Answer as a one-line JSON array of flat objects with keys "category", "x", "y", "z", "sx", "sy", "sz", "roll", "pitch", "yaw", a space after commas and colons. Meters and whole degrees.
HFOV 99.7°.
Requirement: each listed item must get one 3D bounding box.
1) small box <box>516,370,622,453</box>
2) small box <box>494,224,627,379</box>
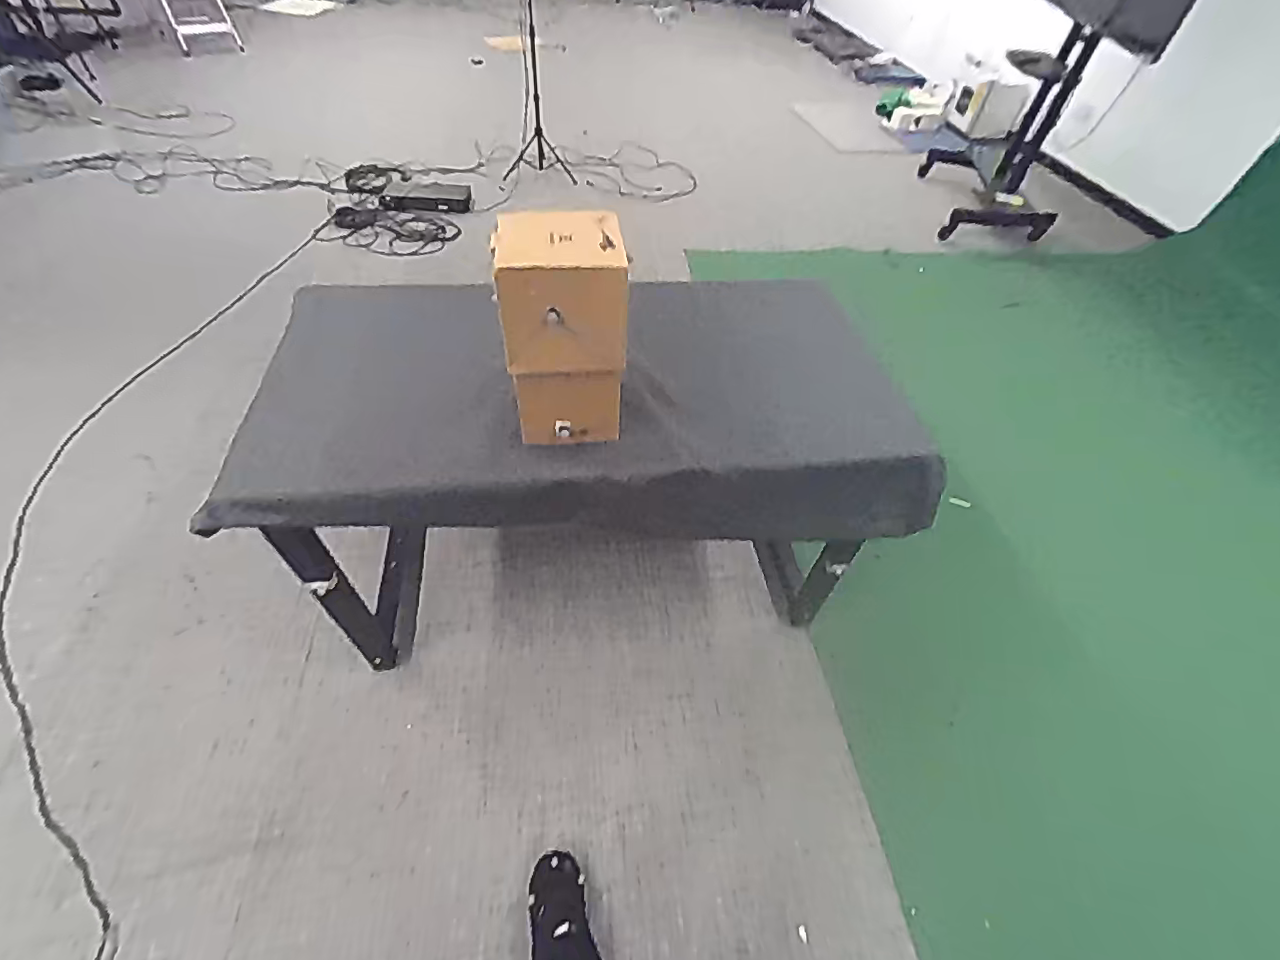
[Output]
[{"category": "small box", "x": -0.125, "y": -0.169, "z": 0.943, "sx": 0.168, "sy": 0.176, "sz": 0.179, "roll": -6, "pitch": 50, "yaw": -8}, {"category": "small box", "x": -0.117, "y": -0.265, "z": 0.813, "sx": 0.179, "sy": 0.176, "sz": 0.168, "roll": -6, "pitch": 47, "yaw": -9}]
